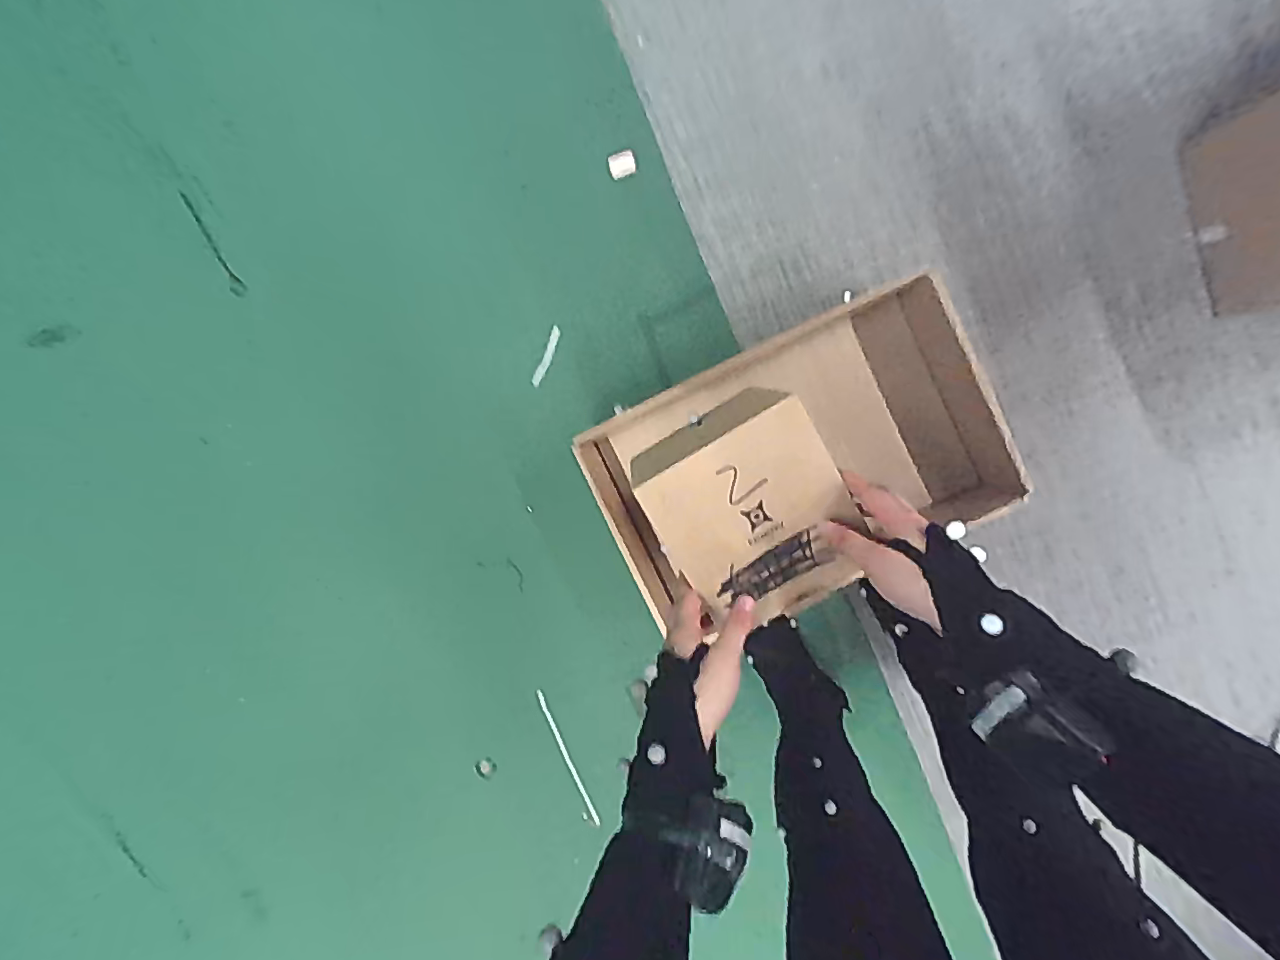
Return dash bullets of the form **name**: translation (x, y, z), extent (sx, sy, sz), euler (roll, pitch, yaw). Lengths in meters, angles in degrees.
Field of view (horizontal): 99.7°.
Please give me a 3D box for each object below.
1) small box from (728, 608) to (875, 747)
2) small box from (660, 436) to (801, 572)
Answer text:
- **small box**: translation (0.293, 0.350, 0.971), extent (0.176, 0.168, 0.179), euler (29, 72, -24)
- **small box**: translation (0.150, 0.035, 0.924), extent (0.179, 0.176, 0.168), euler (-25, 92, 6)
